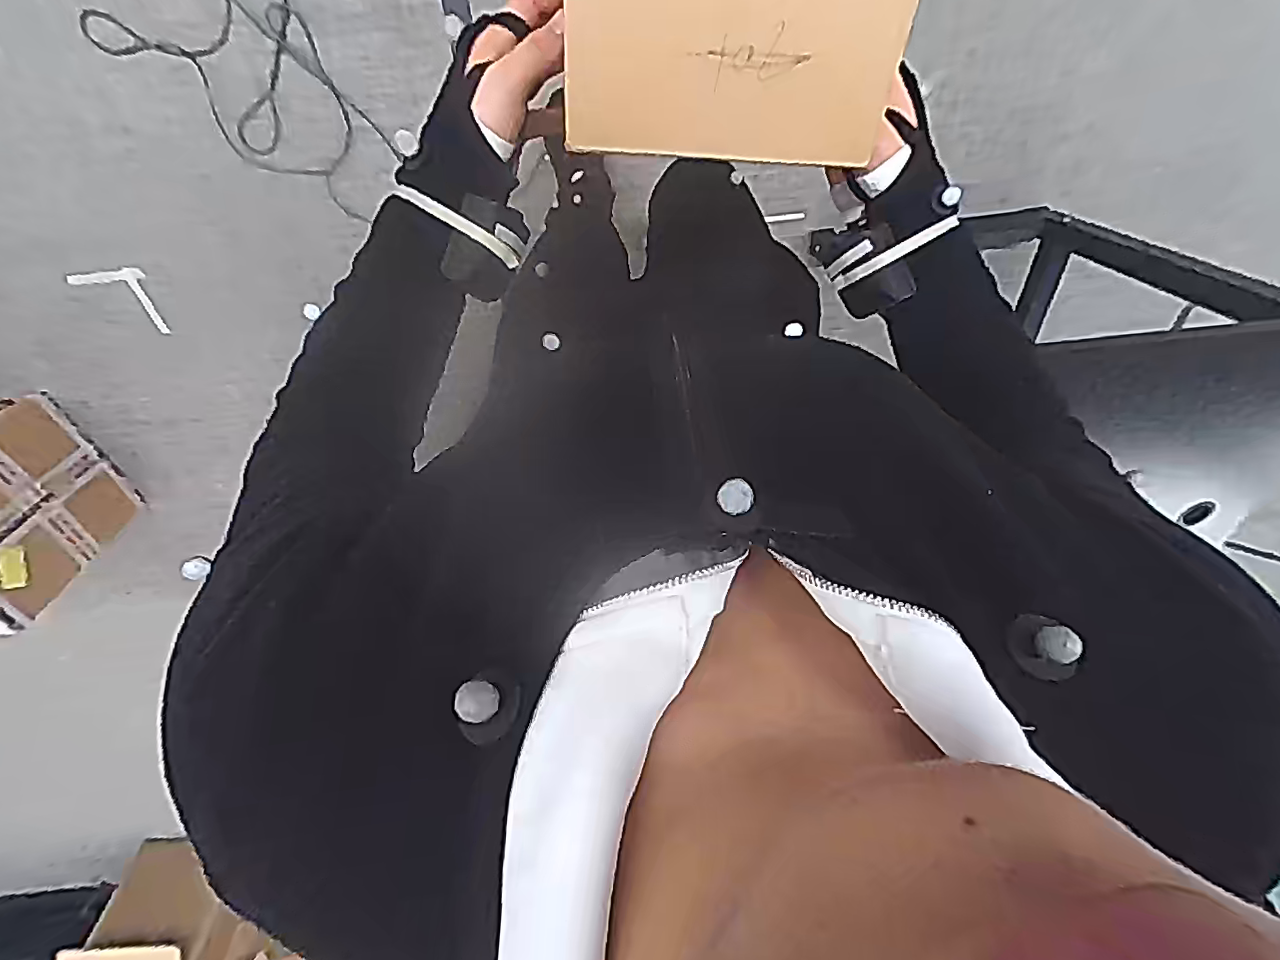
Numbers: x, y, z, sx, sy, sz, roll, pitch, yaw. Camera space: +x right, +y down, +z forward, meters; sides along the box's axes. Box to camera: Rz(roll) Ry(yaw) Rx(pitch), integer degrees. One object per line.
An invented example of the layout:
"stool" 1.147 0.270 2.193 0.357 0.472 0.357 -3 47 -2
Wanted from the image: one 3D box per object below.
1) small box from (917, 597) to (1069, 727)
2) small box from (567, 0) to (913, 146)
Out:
"small box" 0.664 0.343 1.045 0.168 0.176 0.179 -10 128 1
"small box" 0.045 -0.300 0.293 0.168 0.176 0.179 0 131 -4
